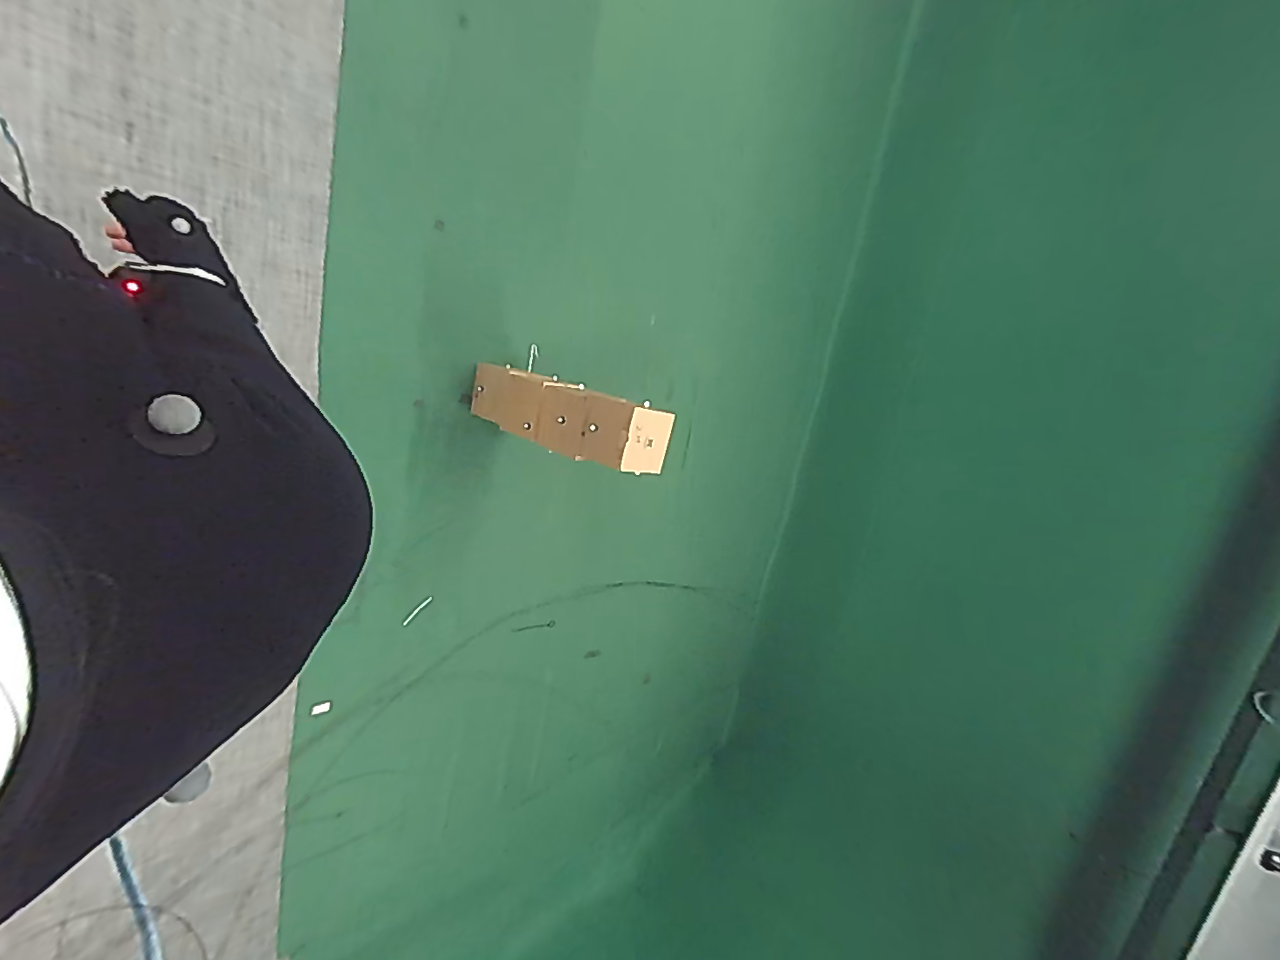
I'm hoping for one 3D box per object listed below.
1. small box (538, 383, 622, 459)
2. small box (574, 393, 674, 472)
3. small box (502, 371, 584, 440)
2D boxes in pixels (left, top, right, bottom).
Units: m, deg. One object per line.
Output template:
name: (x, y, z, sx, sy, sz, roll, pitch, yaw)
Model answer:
small box: (-0.168, -0.167, 1.528, 0.168, 0.176, 0.179, -5, 111, -50)
small box: (-0.043, -0.126, 1.429, 0.179, 0.176, 0.168, 3, 105, -51)
small box: (-0.294, -0.222, 1.618, 0.168, 0.176, 0.179, -3, 110, -50)
